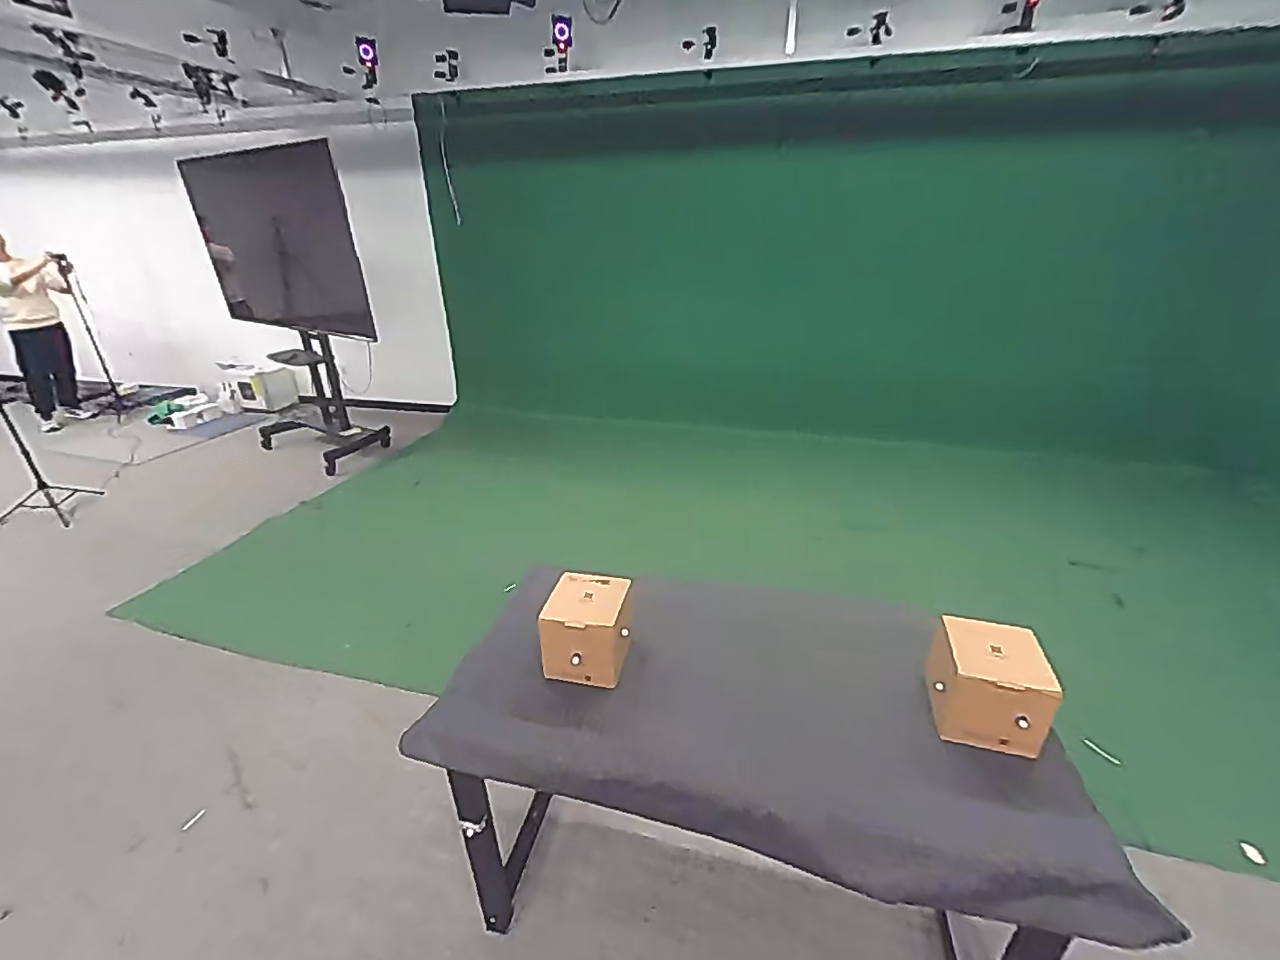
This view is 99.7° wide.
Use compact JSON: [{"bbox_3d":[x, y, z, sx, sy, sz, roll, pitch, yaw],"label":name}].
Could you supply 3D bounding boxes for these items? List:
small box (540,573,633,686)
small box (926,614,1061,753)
[{"bbox_3d":[-0.112,0.336,1.224,0.168,0.176,0.179,5,26,11],"label":"small box"},{"bbox_3d":[0.677,0.395,1.058,0.168,0.176,0.179,7,25,15],"label":"small box"}]
